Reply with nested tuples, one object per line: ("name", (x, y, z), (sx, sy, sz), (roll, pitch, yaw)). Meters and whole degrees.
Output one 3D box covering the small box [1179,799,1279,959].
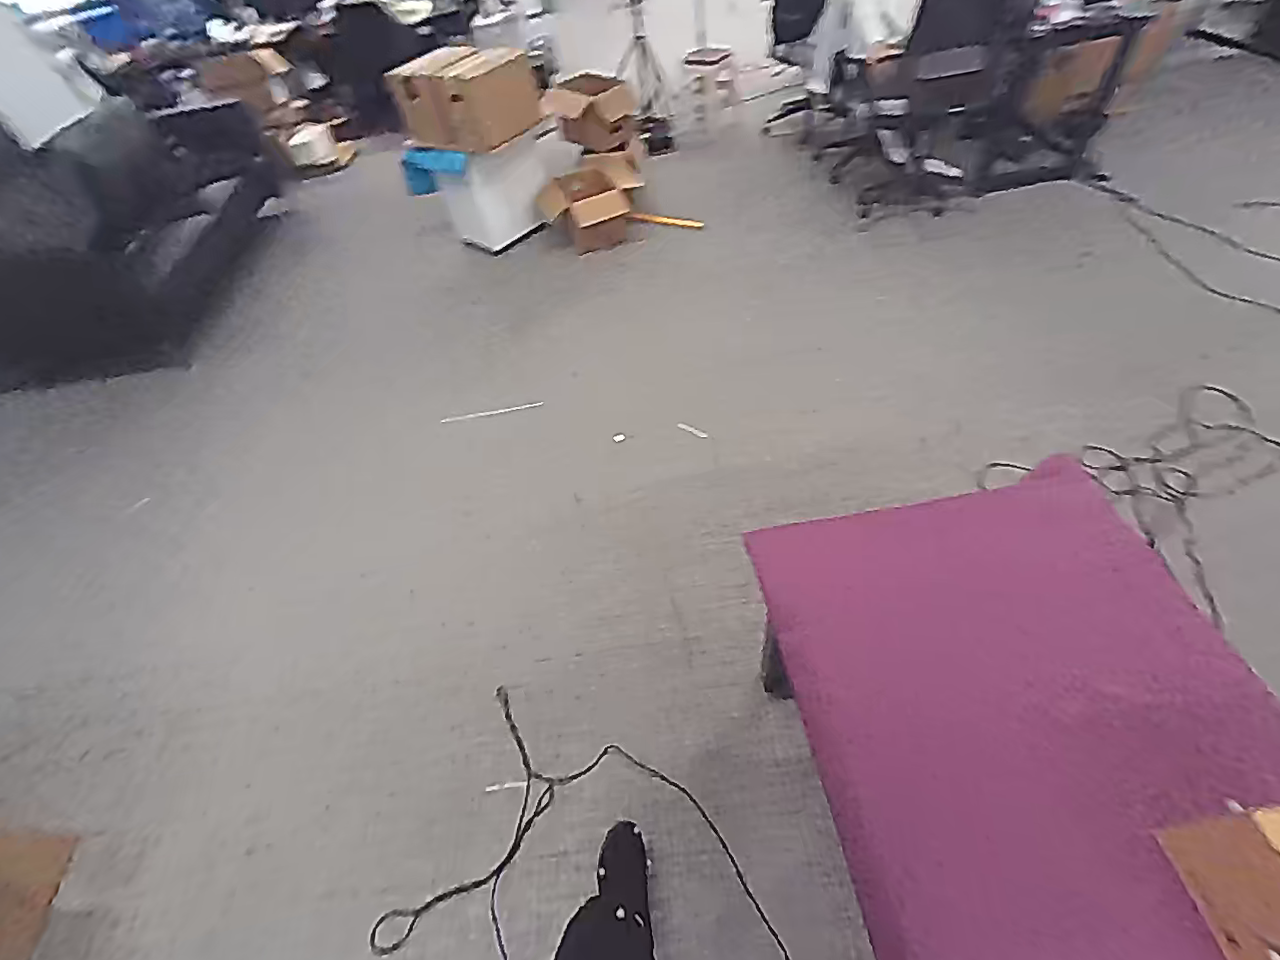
("small box", (0.724, 0.429, 0.554), (0.179, 0.176, 0.168), (-8, 51, 3))
